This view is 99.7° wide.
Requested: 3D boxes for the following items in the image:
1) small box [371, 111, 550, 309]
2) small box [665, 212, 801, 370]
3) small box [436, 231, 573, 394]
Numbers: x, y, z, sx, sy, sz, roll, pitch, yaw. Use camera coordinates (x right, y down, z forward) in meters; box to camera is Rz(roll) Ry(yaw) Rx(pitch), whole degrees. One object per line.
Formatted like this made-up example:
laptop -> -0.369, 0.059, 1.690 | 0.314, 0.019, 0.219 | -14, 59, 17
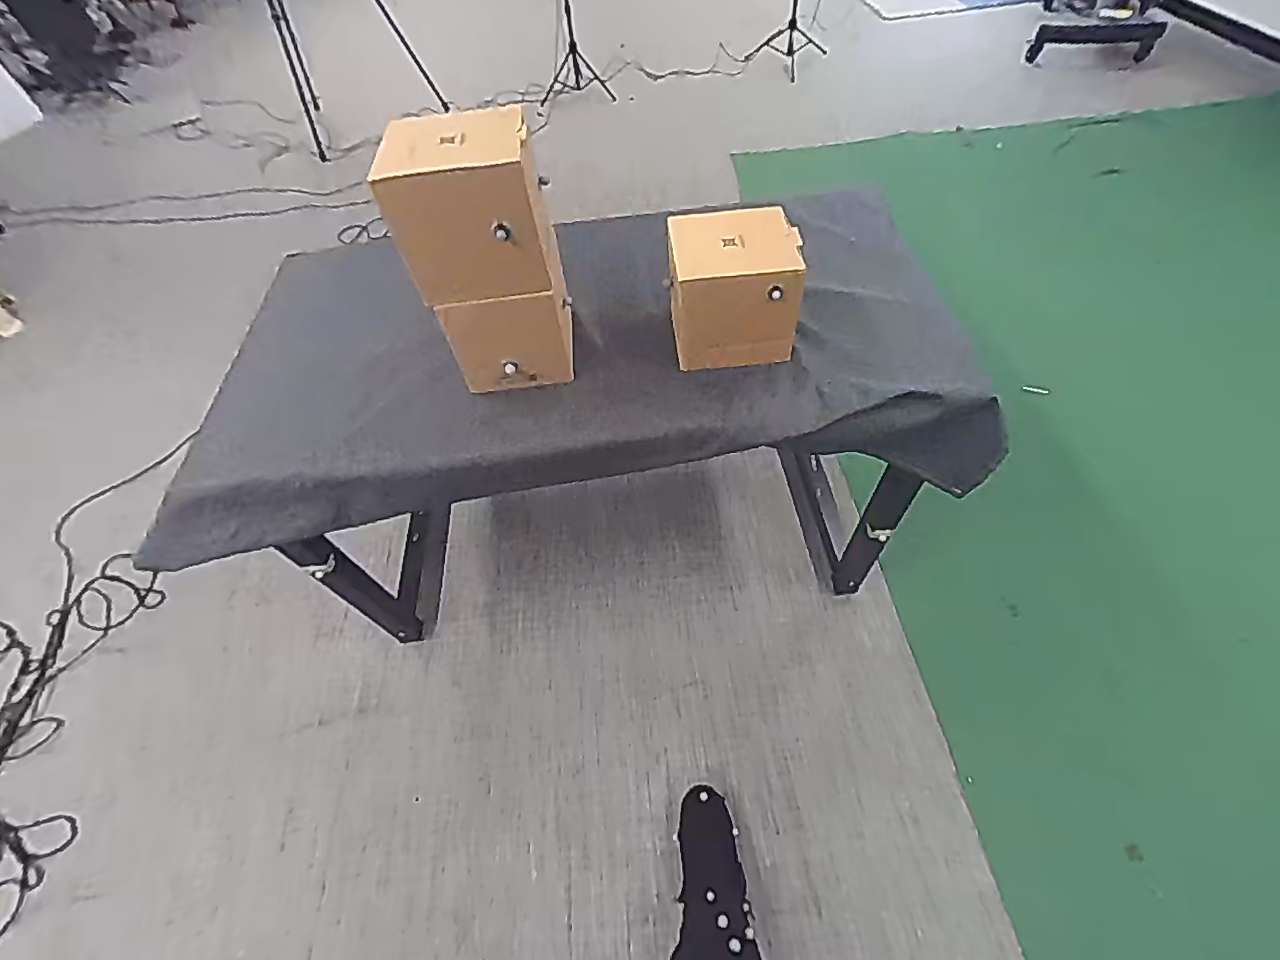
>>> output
small box -> -0.219, -0.352, 0.717 | 0.179, 0.176, 0.168 | -9, 53, 0
small box -> 0.135, -0.289, 0.844 | 0.179, 0.176, 0.168 | -5, 54, 1
small box -> -0.201, -0.260, 0.850 | 0.168, 0.176, 0.179 | -7, 55, 0
